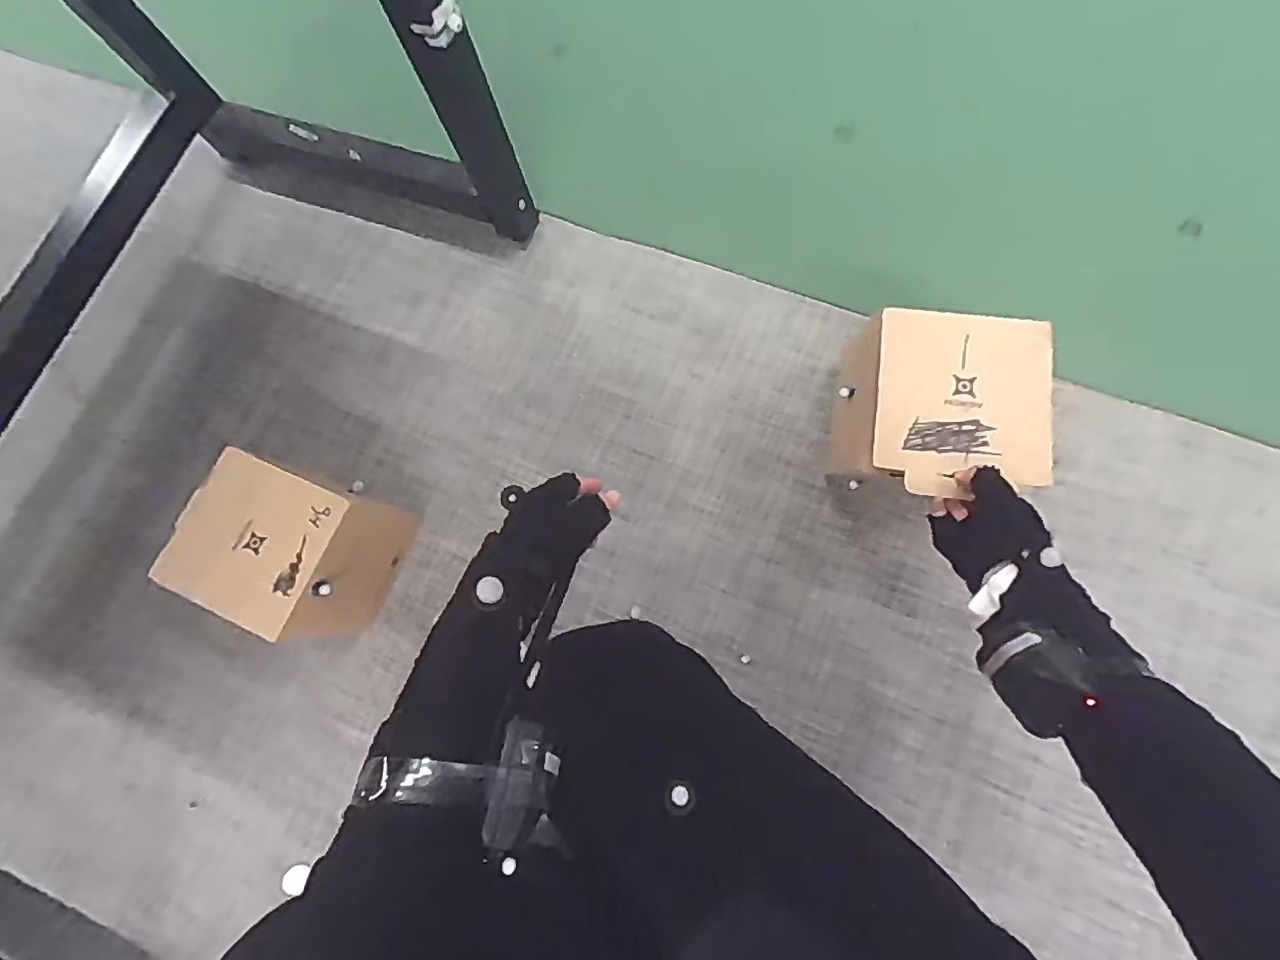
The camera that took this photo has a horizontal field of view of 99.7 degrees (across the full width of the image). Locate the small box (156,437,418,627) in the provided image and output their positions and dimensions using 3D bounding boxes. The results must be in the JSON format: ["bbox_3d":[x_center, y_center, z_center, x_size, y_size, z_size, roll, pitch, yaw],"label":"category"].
[{"bbox_3d":[-0.421,0.072,0.675,0.179,0.176,0.168,23,81,11],"label":"small box"}]

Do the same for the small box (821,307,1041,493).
[{"bbox_3d":[0.320,-0.083,0.633,0.168,0.176,0.179,8,90,6],"label":"small box"}]
